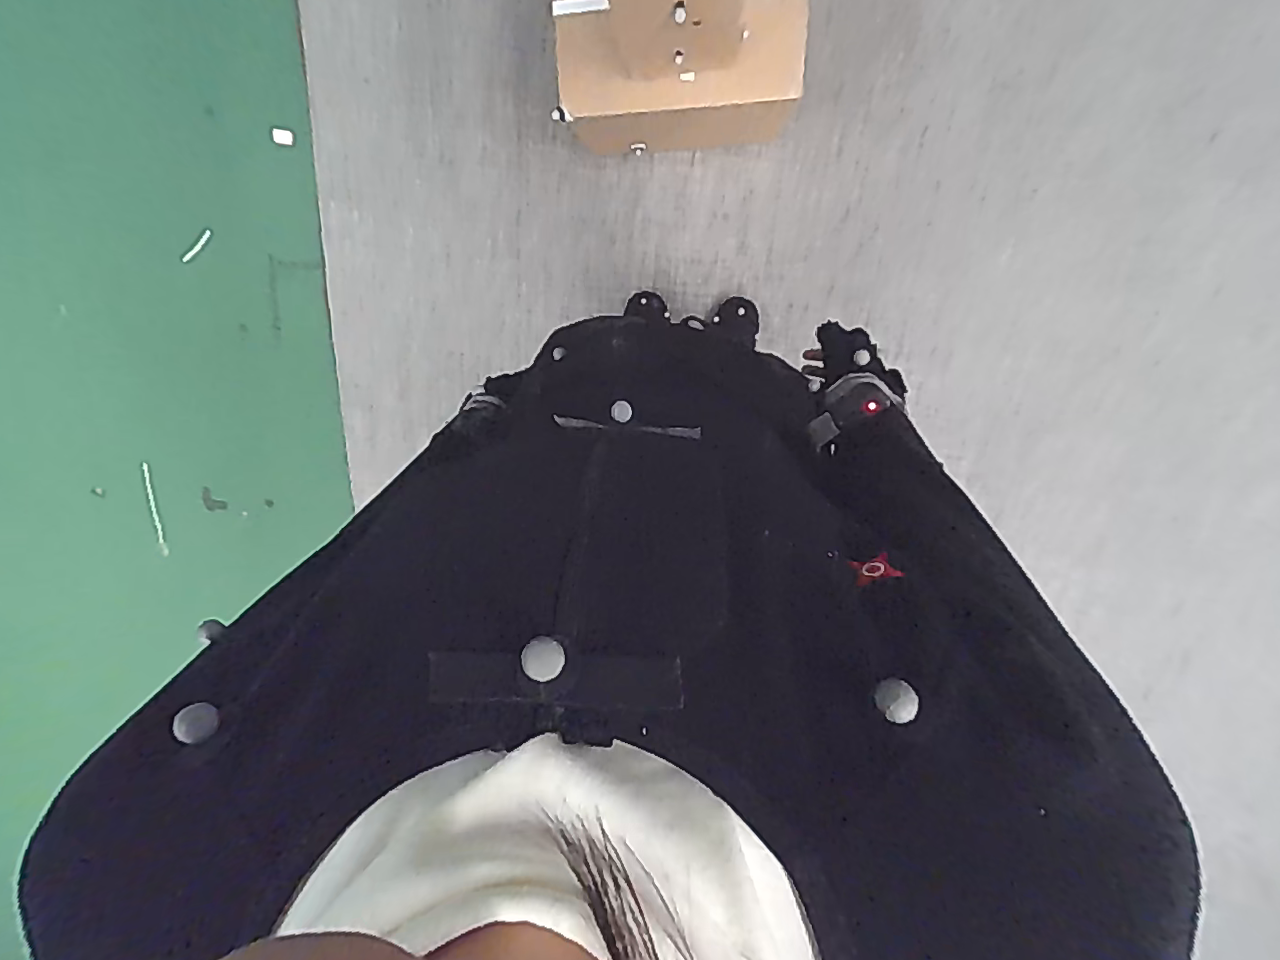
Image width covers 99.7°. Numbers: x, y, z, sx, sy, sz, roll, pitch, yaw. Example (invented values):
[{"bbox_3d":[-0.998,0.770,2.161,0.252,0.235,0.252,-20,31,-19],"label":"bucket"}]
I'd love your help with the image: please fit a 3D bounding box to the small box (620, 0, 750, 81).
[{"bbox_3d":[0.058,-0.708,0.778,0.179,0.176,0.168,-5,110,8],"label":"small box"}]
